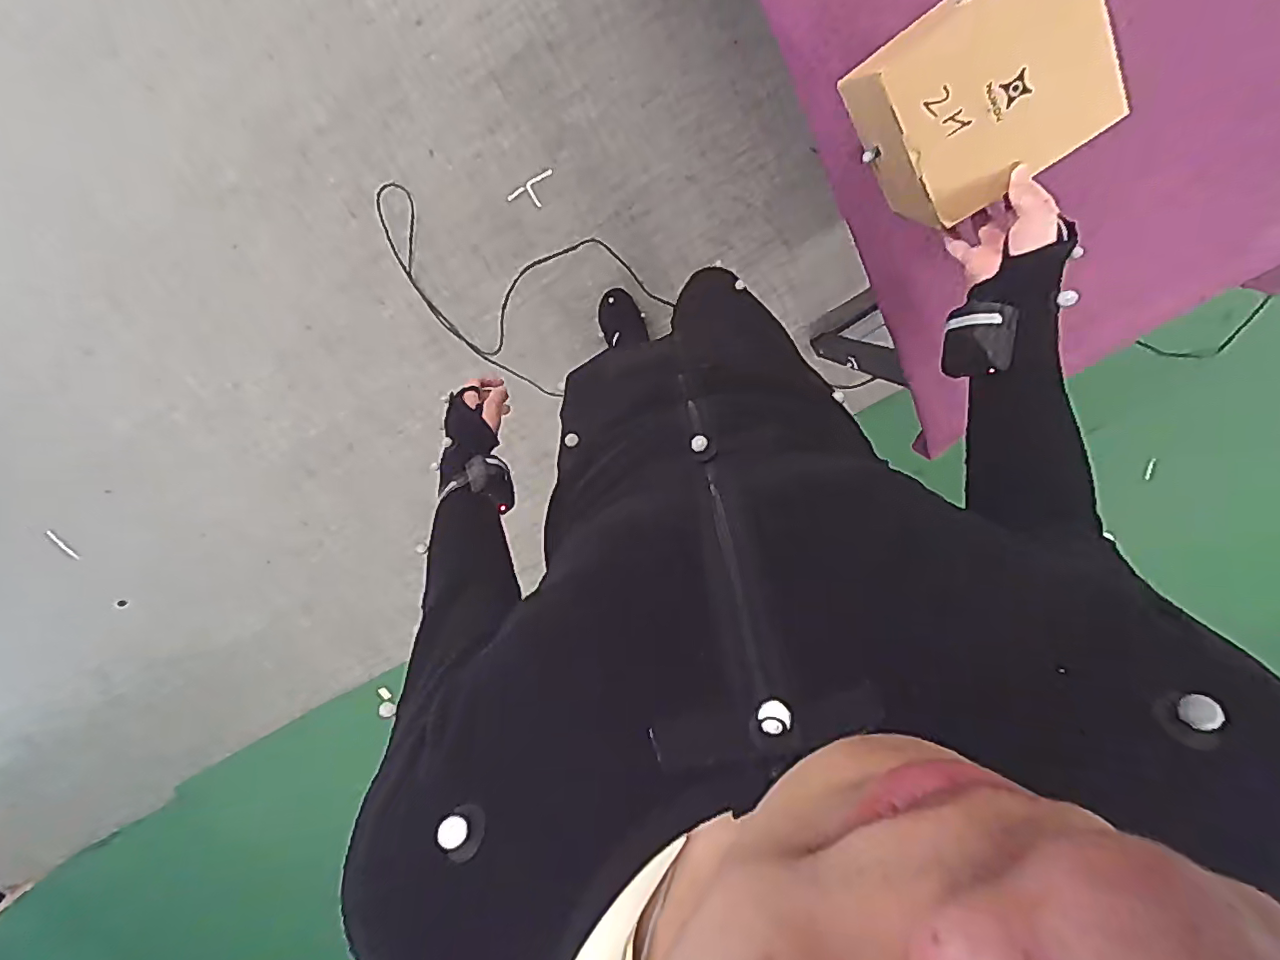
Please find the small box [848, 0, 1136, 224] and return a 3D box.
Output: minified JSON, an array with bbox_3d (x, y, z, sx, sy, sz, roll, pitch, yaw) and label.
[{"bbox_3d":[0.345,-0.403,0.559,0.179,0.176,0.168,-29,116,23],"label":"small box"}]
